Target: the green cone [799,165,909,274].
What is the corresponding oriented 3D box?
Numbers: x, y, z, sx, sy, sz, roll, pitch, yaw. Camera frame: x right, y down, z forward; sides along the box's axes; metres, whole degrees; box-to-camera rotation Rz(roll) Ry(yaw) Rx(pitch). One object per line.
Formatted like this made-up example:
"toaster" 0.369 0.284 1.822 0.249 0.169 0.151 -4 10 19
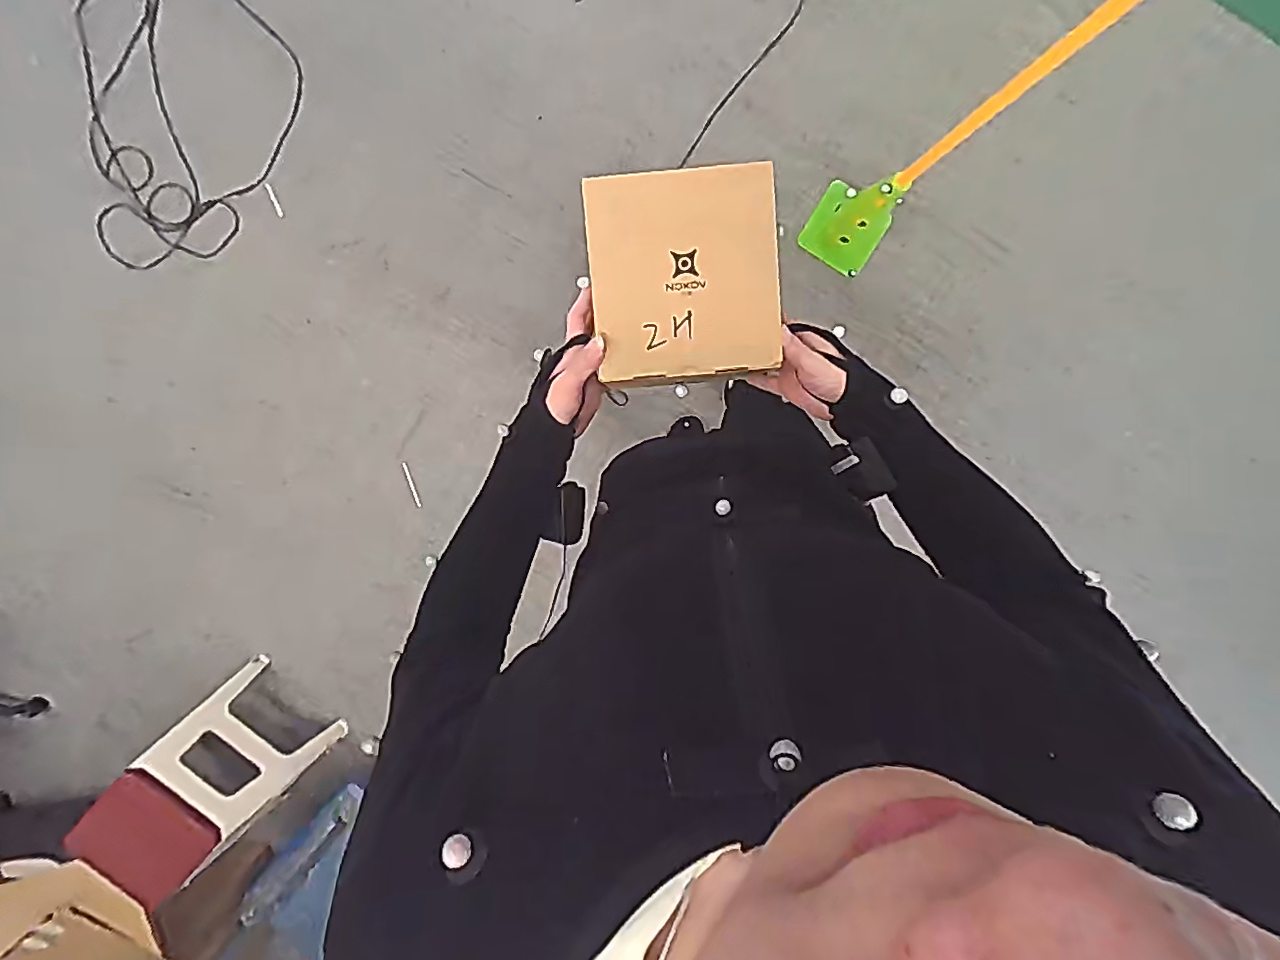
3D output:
"green cone" 0.569 -0.682 1.337 0.202 0.368 0.200 31 98 -3
